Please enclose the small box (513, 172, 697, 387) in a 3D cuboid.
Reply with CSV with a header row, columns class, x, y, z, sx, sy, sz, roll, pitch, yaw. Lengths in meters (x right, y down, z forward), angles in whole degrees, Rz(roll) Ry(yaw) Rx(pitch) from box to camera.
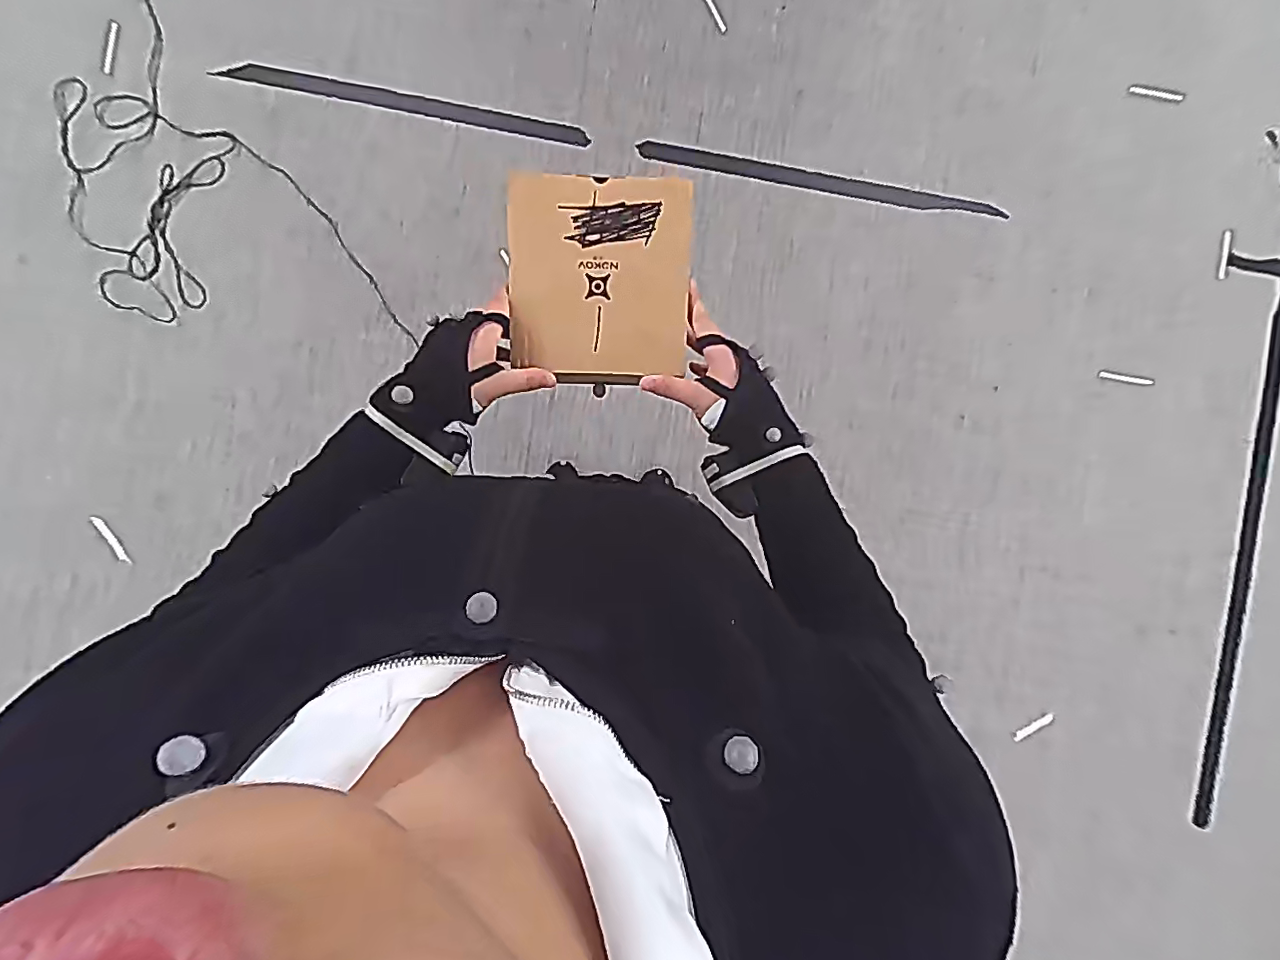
class,x,y,z,sx,sy,sz,roll,pitch,yaw
small box,-0.034,-0.196,0.575,0.168,0.176,0.179,2,96,0
